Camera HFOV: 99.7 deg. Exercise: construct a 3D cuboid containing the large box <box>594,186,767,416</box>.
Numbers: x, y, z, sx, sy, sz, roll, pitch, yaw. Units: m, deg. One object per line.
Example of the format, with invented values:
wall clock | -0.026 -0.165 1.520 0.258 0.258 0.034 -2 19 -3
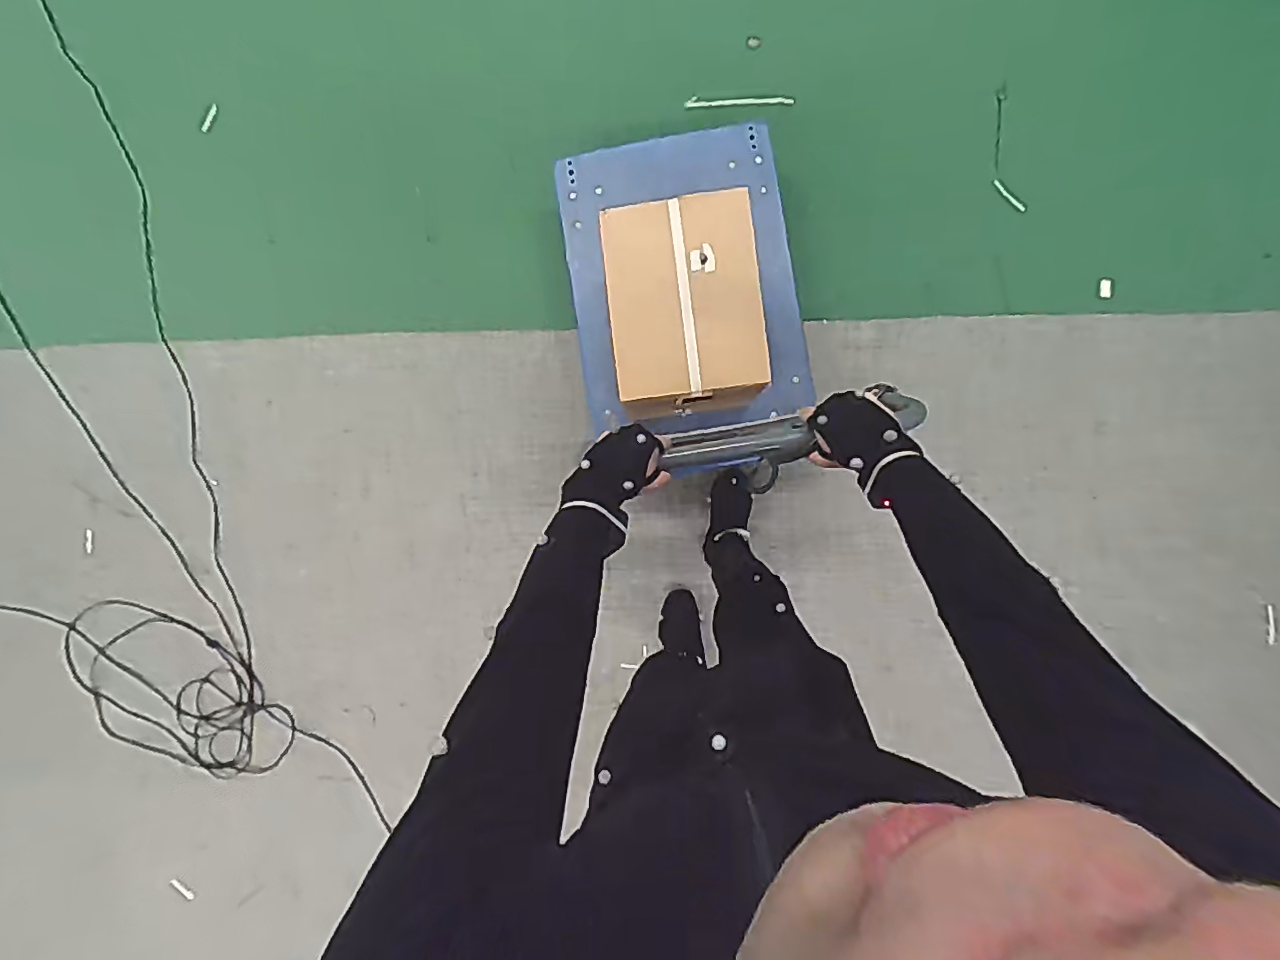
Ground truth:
large box | 0.092 -0.383 1.257 0.320 0.320 0.408 -7 88 3
